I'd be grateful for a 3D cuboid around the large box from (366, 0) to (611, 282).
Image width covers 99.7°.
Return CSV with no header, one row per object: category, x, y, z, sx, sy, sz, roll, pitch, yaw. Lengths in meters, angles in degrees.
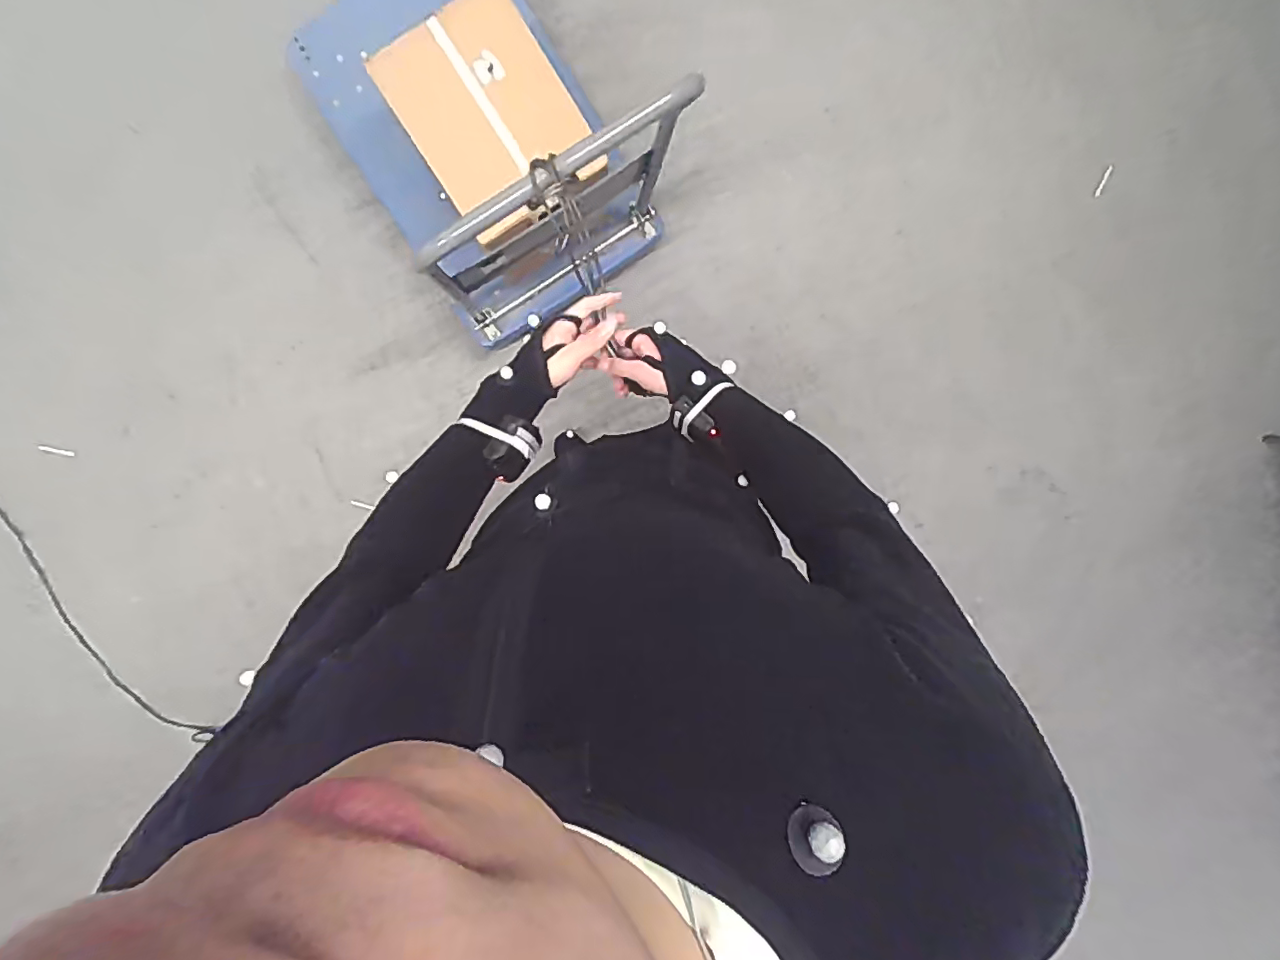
large box,-0.297,-0.727,1.200,0.320,0.320,0.408,-33,96,-1
